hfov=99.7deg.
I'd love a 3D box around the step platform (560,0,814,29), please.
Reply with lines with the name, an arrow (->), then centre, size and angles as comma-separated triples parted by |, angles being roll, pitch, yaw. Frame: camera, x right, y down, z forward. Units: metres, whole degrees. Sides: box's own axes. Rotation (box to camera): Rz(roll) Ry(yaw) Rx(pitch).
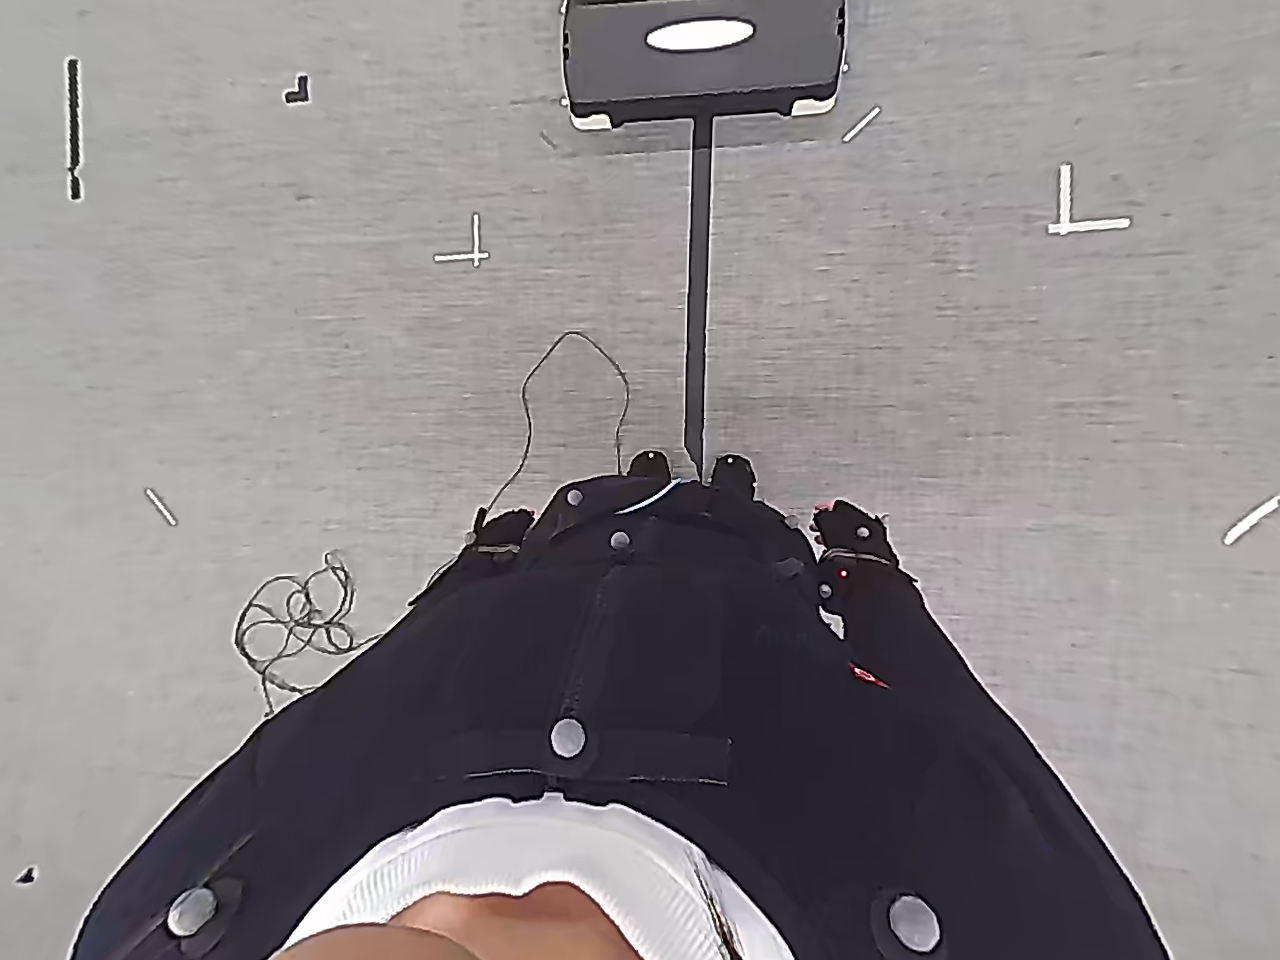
step platform -> 0.120, -1.305, 1.265 | 0.684, 0.204, 0.286 | 0, 94, 6
